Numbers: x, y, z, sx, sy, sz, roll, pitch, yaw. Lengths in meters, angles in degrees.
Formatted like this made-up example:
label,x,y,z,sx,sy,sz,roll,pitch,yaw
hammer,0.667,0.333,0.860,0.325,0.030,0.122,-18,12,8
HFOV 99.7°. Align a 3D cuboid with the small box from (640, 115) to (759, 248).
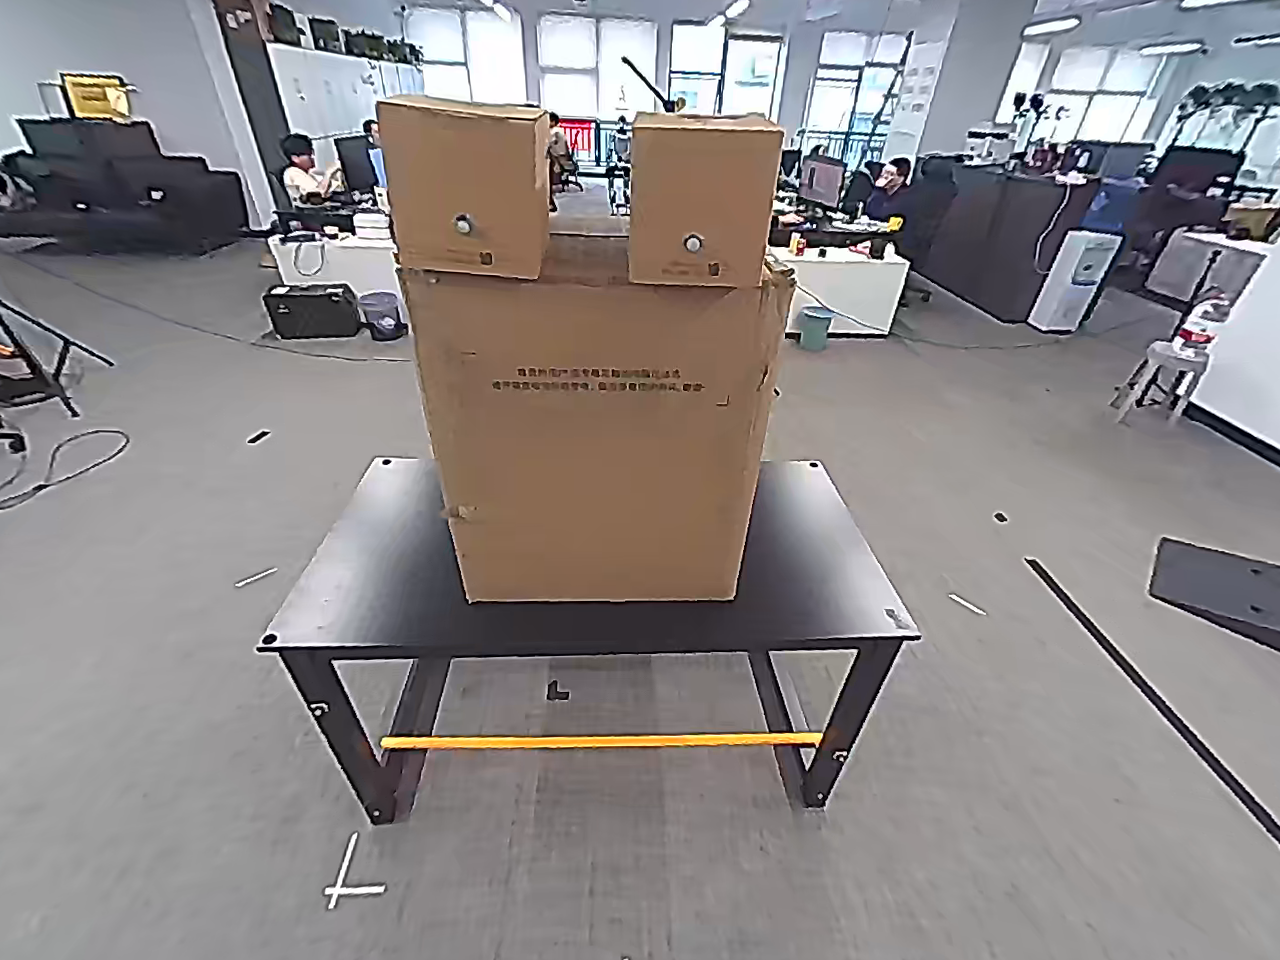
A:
label,x,y,z,sx,sy,sz,roll,pitch,yaw
small box,0.084,-0.474,0.856,0.168,0.176,0.179,0,34,0
